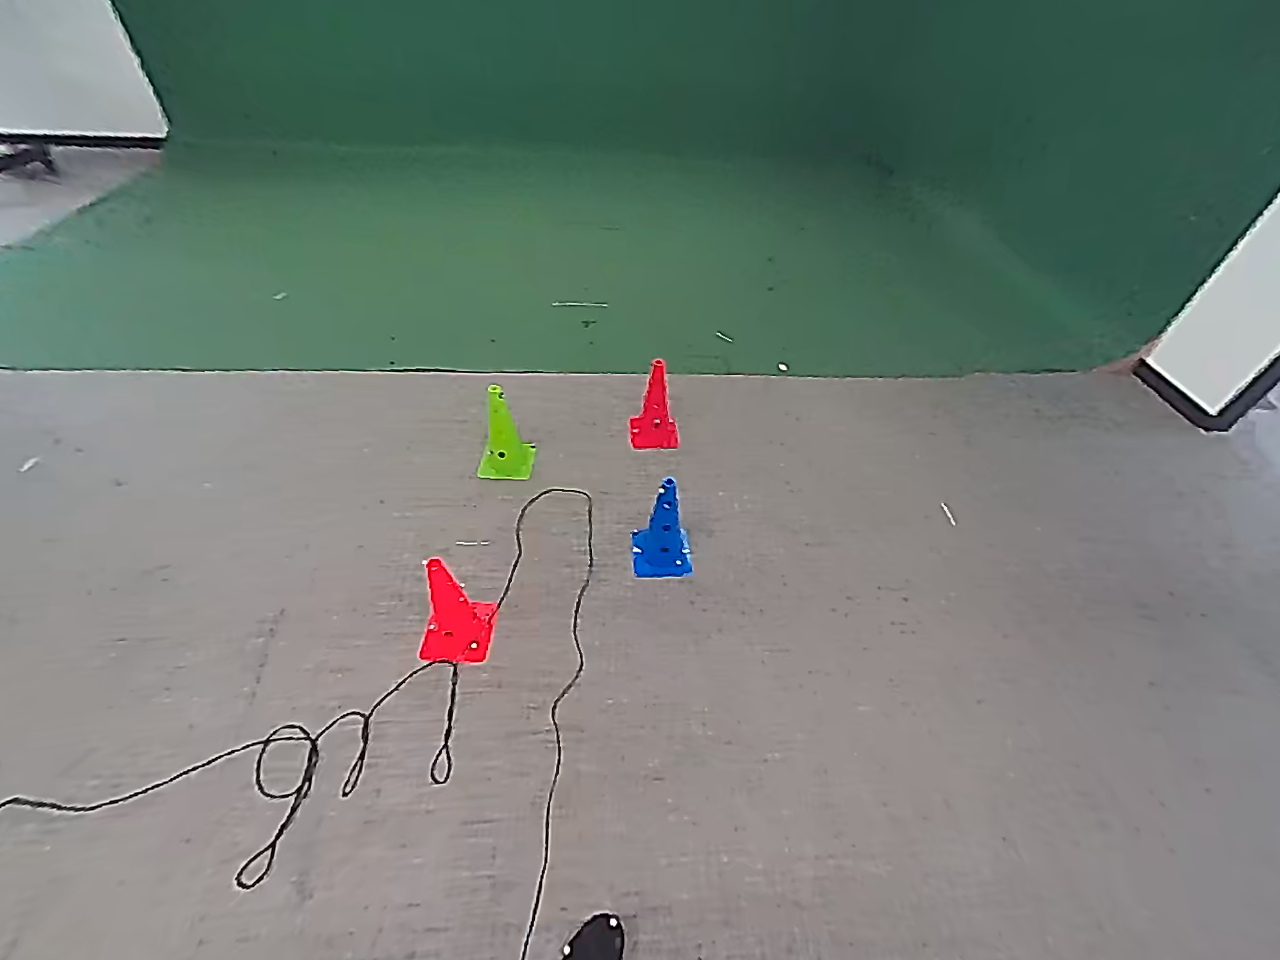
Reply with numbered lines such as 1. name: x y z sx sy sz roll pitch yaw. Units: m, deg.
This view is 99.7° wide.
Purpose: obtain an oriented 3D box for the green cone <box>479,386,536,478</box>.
1. green cone: -0.514 -0.198 2.009 0.200 0.368 0.202 1 47 -1

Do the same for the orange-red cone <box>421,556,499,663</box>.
1. orange-red cone: -0.527 0.331 1.504 0.198 0.360 0.199 4 45 -1
